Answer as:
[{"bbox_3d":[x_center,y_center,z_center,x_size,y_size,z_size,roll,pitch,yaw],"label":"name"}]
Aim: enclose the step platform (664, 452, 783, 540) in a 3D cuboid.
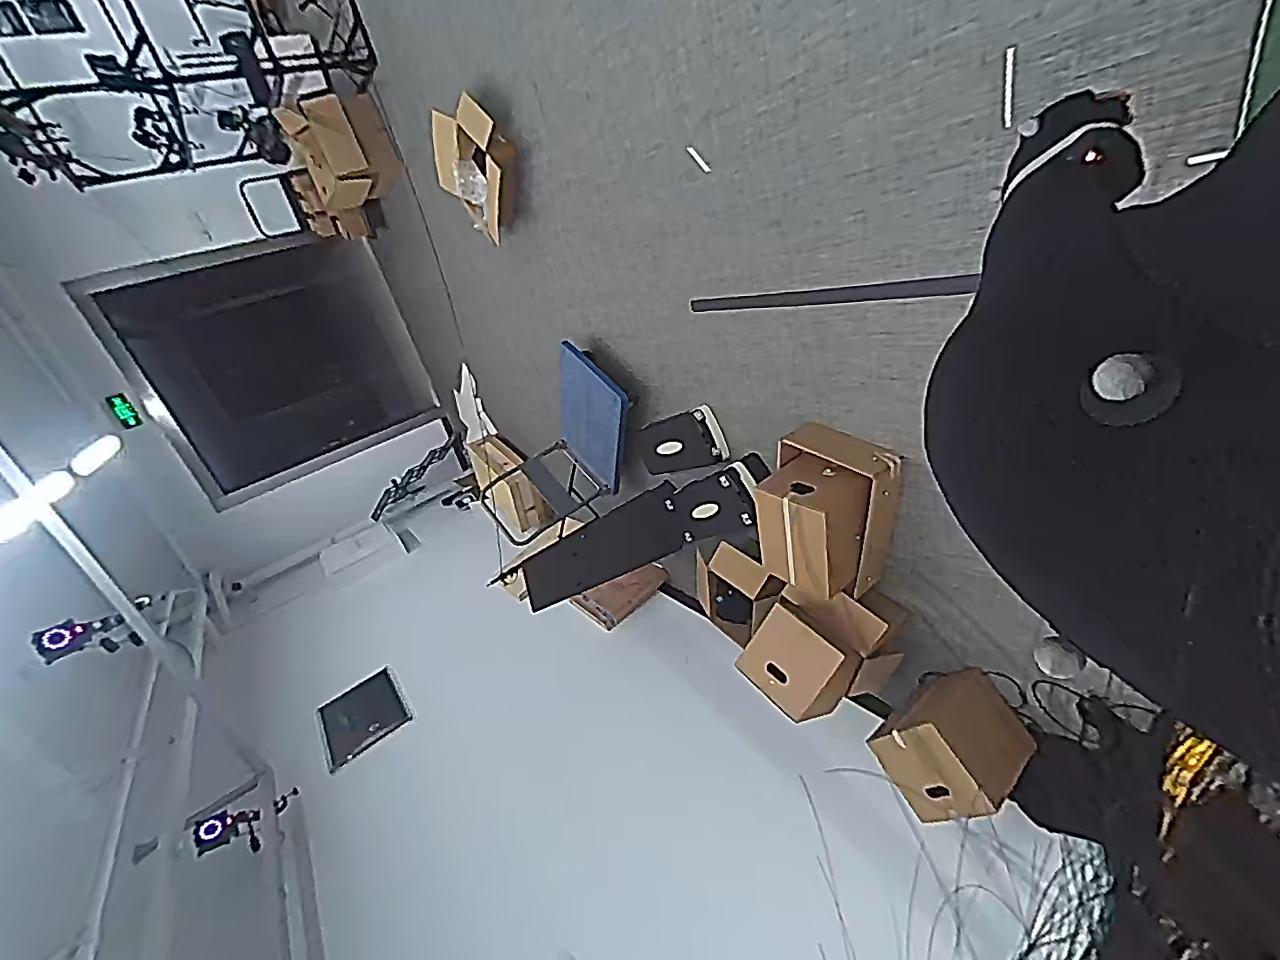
[{"bbox_3d":[0.381,0.101,2.673,0.286,0.204,0.684,59,152,0],"label":"step platform"}]
